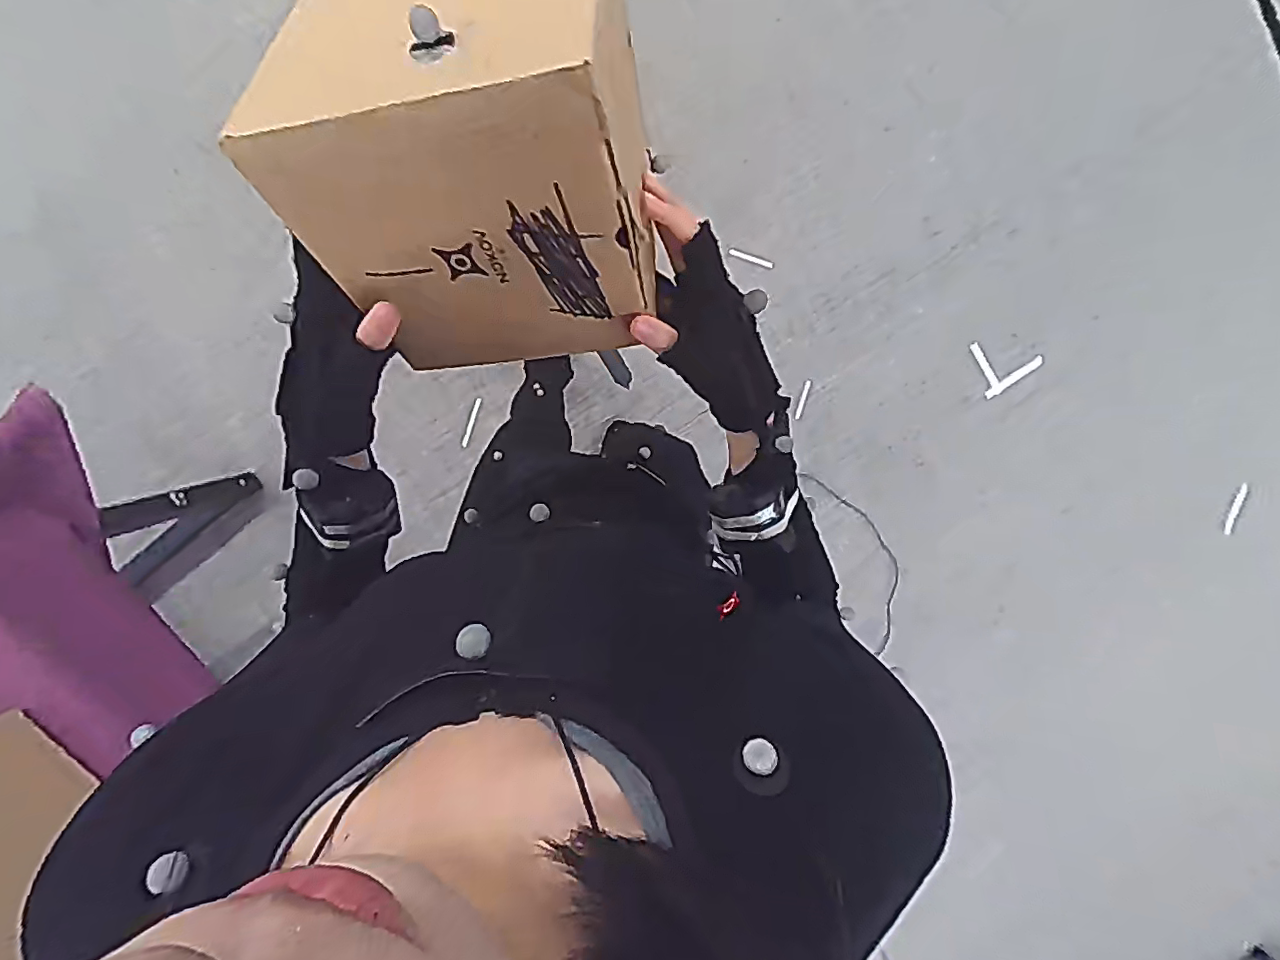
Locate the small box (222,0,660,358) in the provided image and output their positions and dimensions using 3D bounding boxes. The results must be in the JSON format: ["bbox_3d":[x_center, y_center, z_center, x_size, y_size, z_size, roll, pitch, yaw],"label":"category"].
[{"bbox_3d":[-0.084,-0.198,0.326,0.179,0.168,0.176,-3,62,10],"label":"small box"}]
